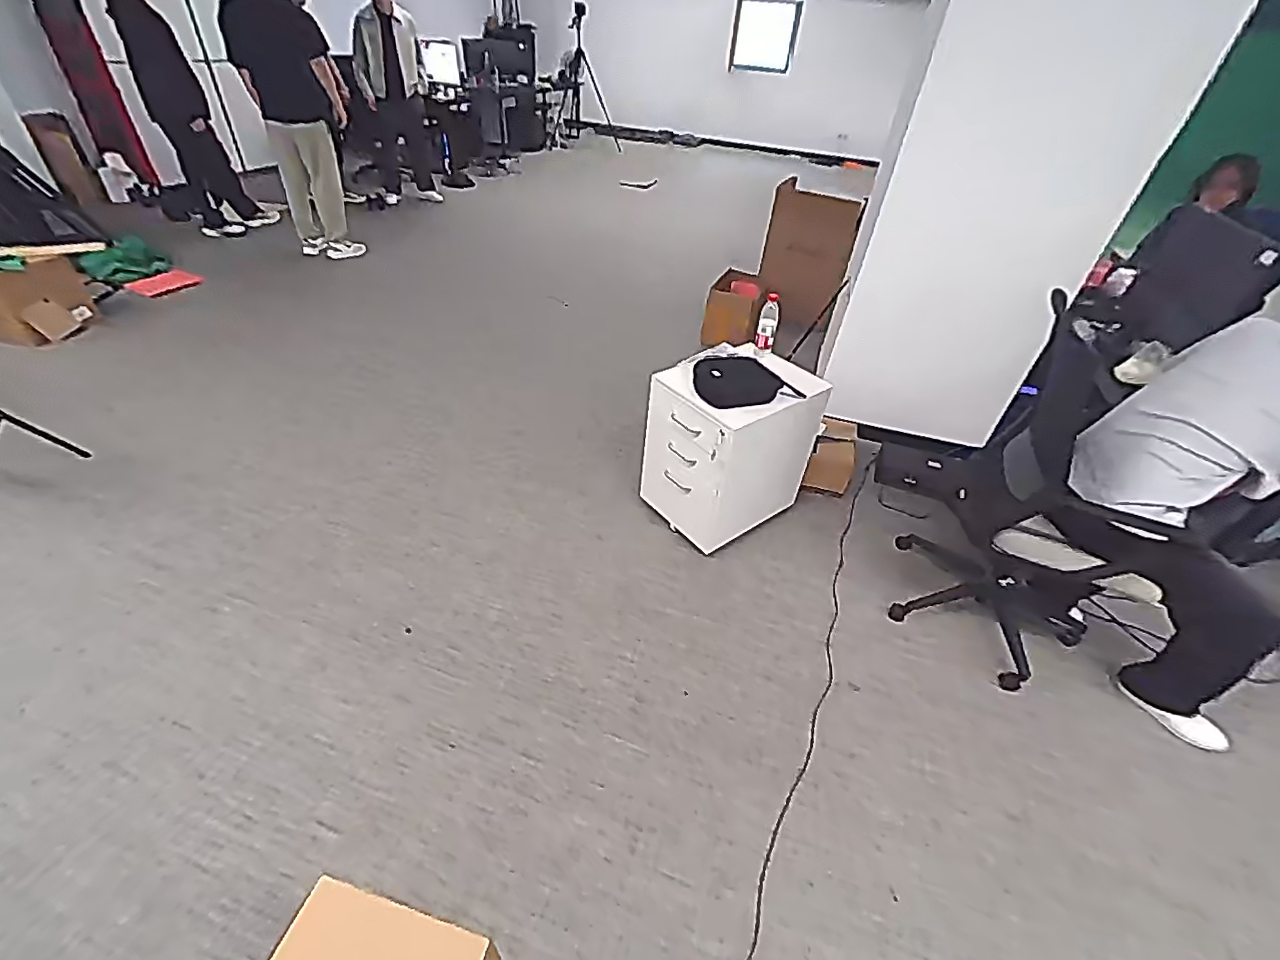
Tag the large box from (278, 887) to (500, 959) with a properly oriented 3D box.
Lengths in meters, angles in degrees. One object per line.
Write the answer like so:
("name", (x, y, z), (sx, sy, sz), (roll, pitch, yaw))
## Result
("large box", (-0.437, 0.942, 0.897), (0.320, 0.408, 0.320), (14, 42, 9))
